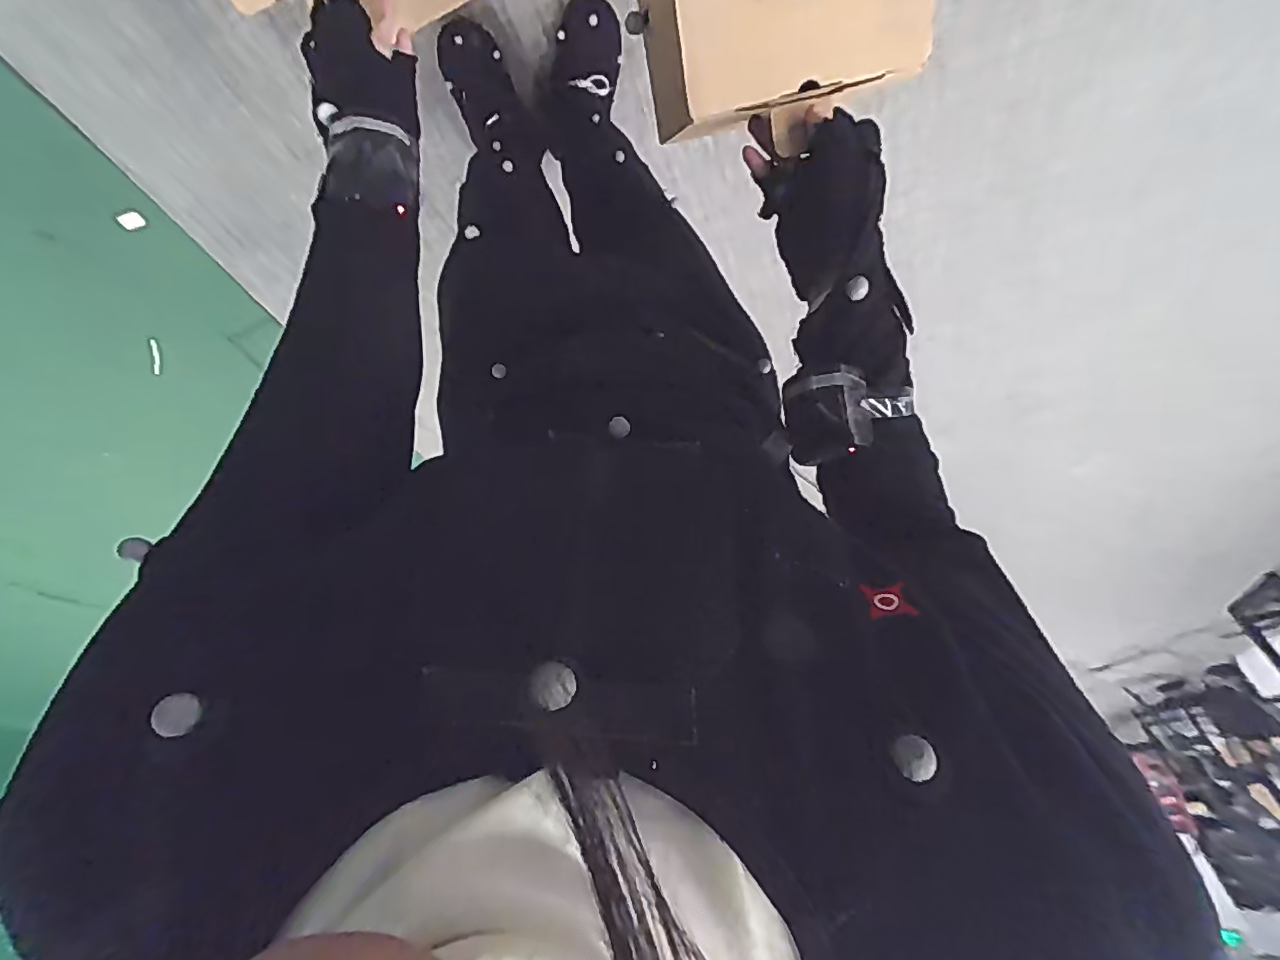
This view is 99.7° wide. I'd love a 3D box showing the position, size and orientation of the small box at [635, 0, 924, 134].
[{"bbox_3d":[0.087,-0.373,0.399,0.168,0.176,0.179,-13,118,0],"label":"small box"}]
